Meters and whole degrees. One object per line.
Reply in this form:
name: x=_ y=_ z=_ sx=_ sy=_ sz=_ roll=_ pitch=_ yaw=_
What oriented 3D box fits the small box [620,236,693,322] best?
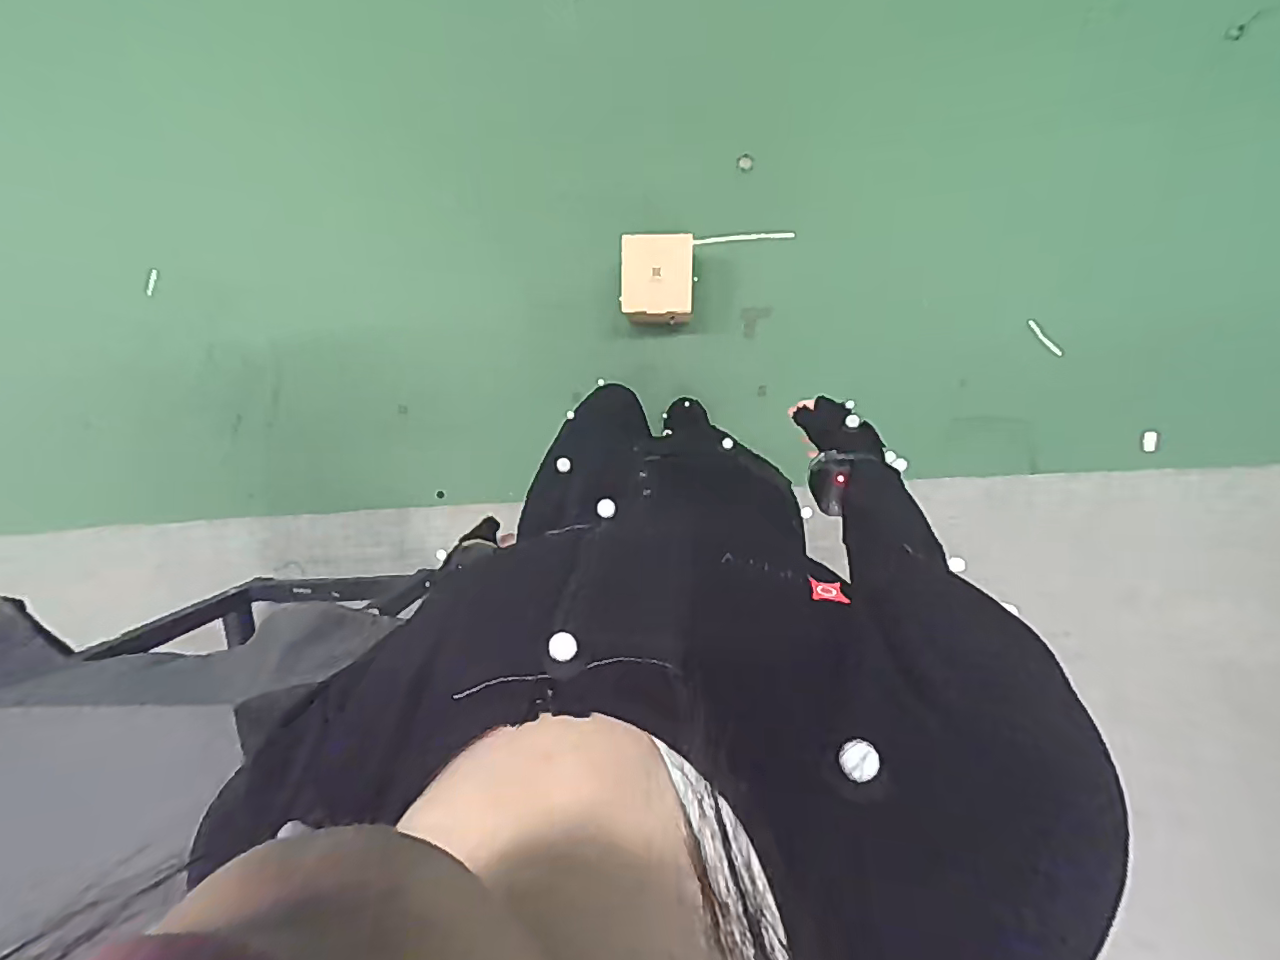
small box: x=0.044 y=-0.487 z=1.331 sx=0.168 sy=0.176 sz=0.179 roll=1 pitch=99 yaw=5
